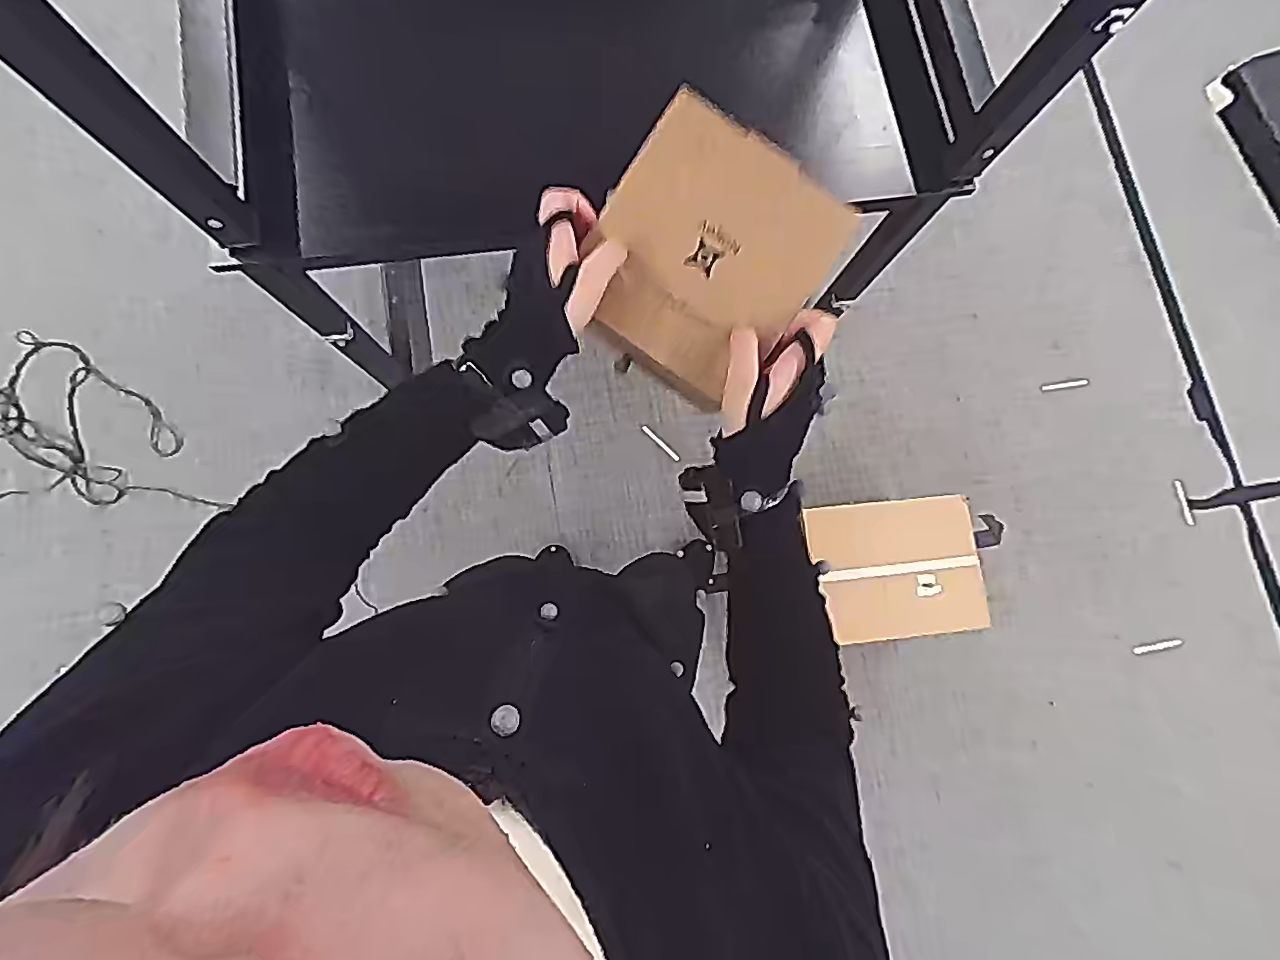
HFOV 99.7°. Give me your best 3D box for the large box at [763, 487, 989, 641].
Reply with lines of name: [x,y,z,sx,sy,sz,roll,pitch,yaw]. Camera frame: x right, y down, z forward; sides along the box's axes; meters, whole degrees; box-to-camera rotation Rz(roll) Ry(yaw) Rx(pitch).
large box: [0.570,0.209,1.378,0.408,0.320,0.320,-5,83,-6]
